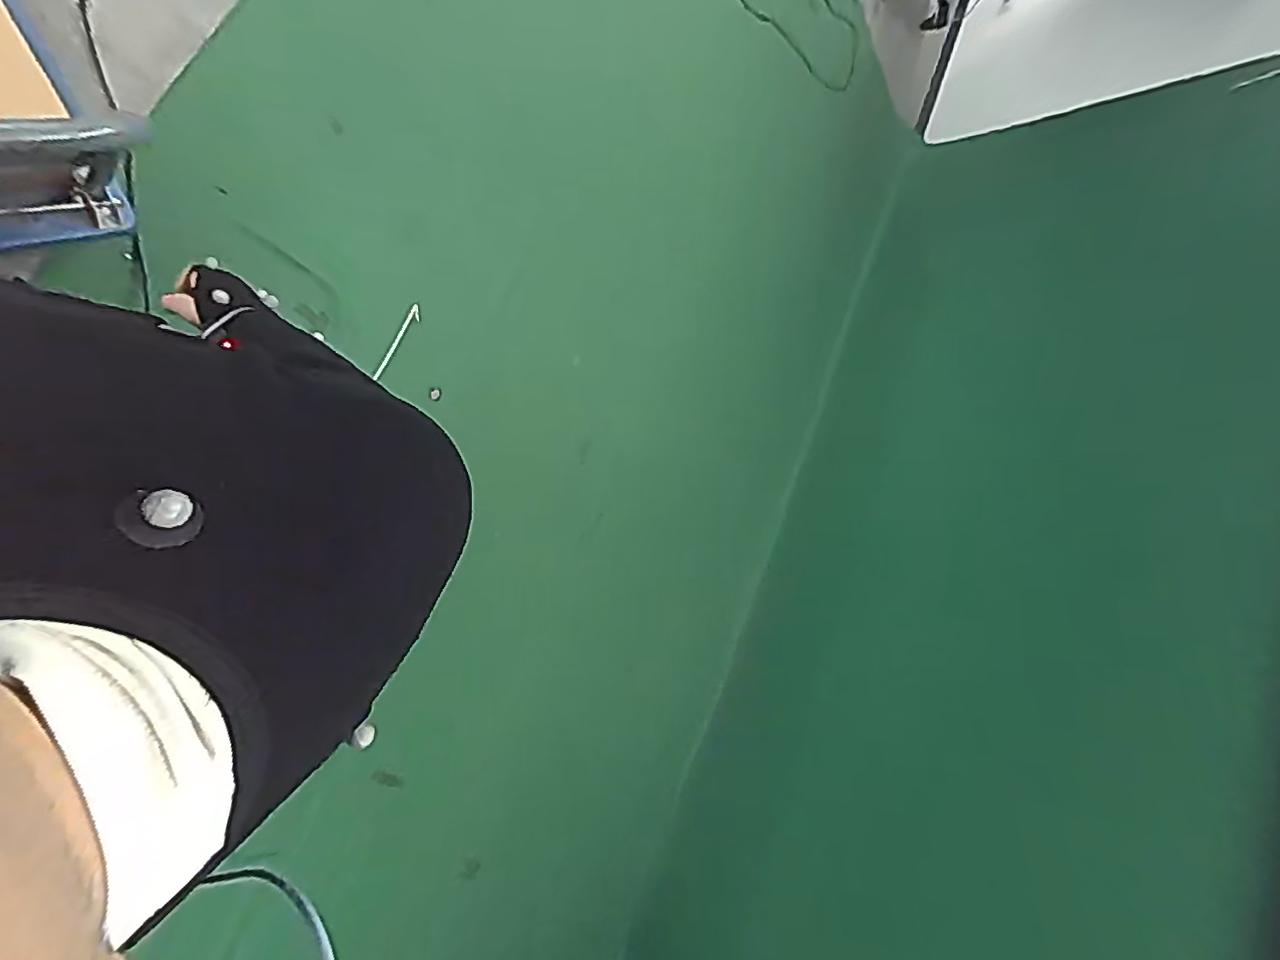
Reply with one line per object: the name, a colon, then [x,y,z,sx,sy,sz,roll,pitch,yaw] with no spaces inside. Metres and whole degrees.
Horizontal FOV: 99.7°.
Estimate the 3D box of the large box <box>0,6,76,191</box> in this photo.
large box: [-1.096,-0.634,0.735,0.320,0.320,0.408,-36,121,-37]
